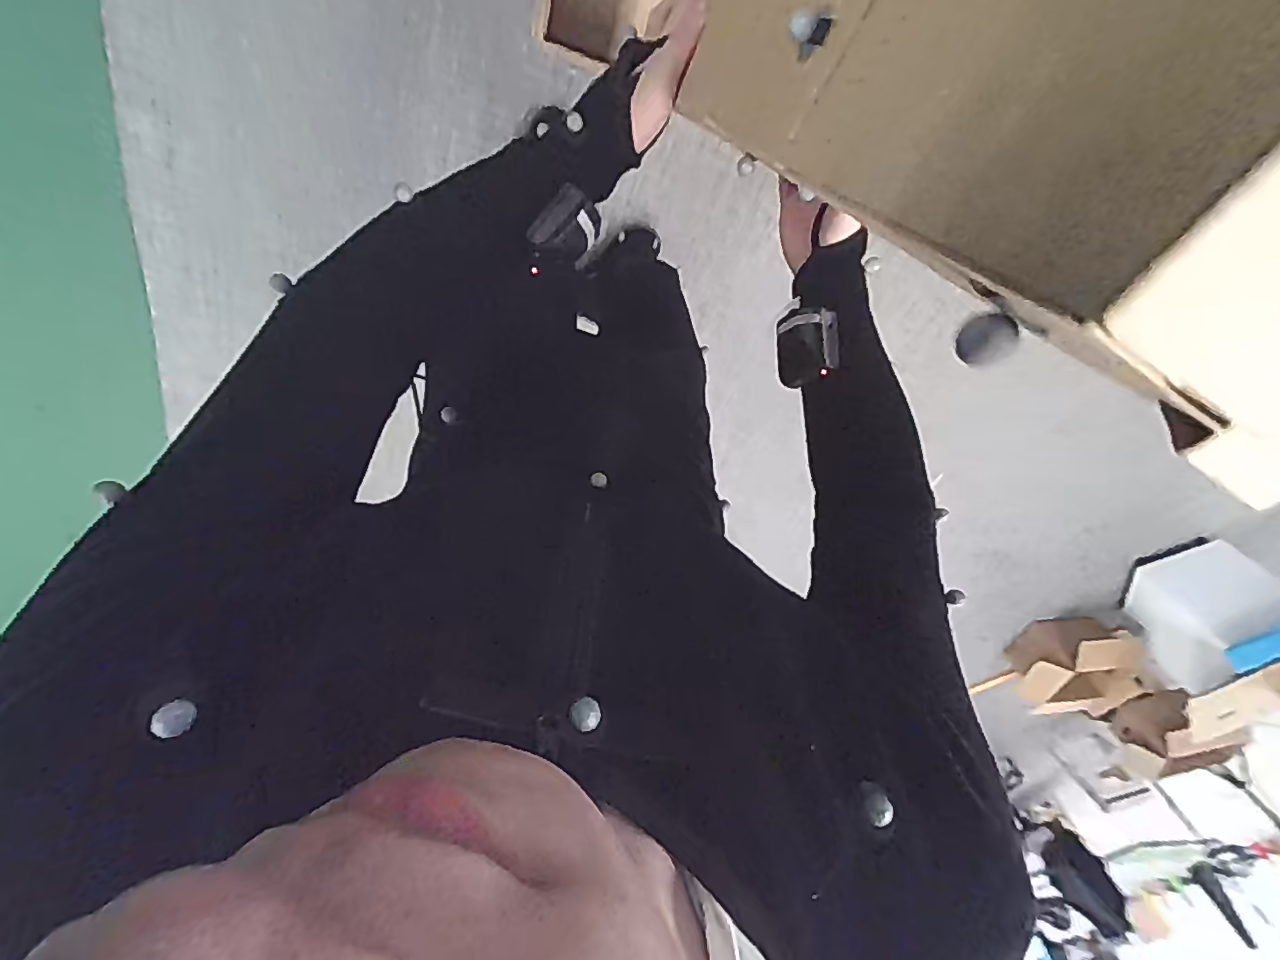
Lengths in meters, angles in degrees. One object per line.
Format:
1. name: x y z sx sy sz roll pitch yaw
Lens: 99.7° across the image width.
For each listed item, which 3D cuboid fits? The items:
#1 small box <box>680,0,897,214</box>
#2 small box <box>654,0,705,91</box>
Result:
1. small box: 0.145 -0.333 0.392 0.168 0.176 0.179 16 124 -22
2. small box: 0.124 -0.442 0.514 0.168 0.176 0.179 16 123 -22
